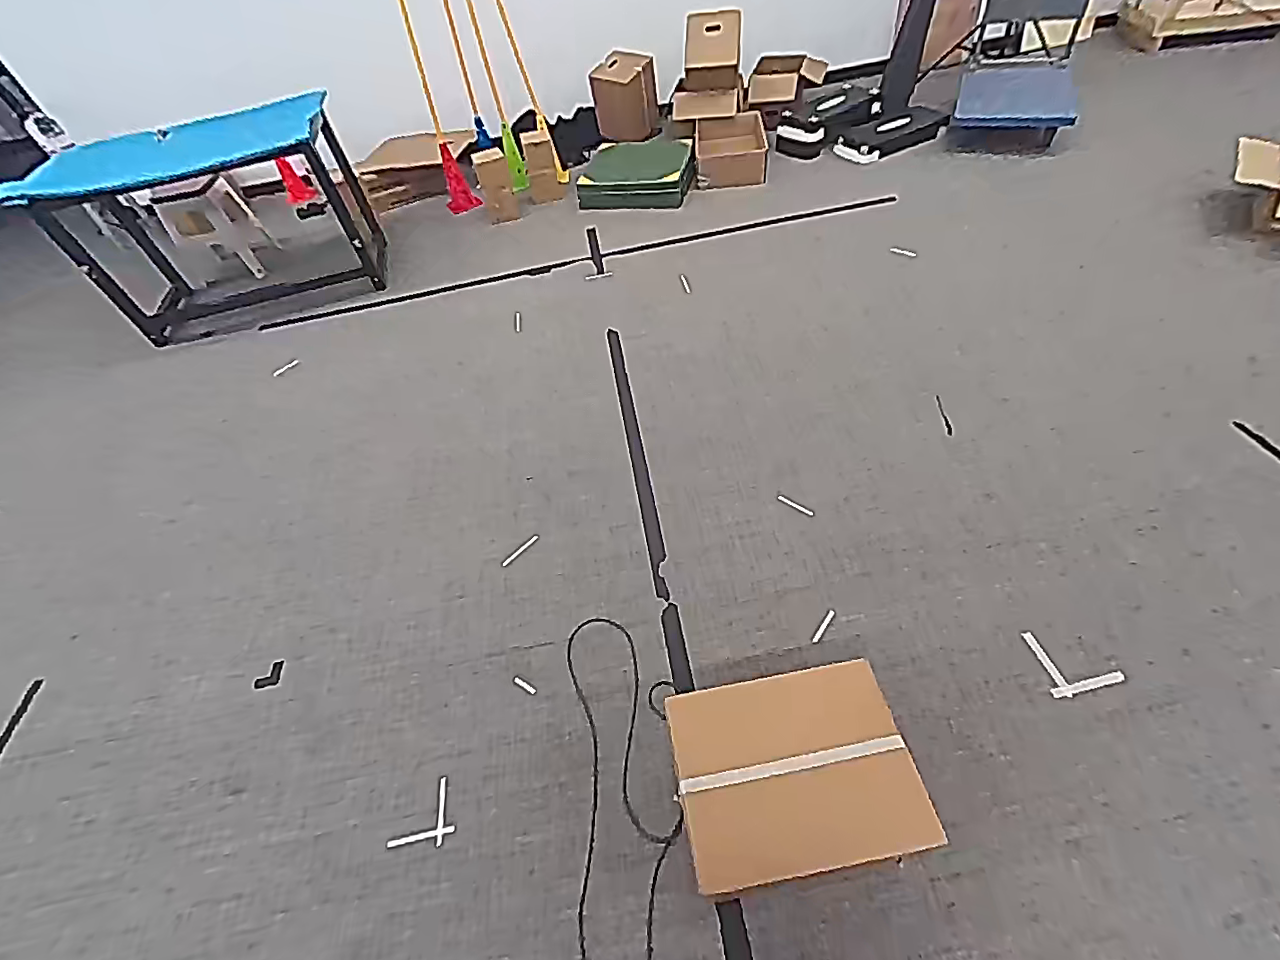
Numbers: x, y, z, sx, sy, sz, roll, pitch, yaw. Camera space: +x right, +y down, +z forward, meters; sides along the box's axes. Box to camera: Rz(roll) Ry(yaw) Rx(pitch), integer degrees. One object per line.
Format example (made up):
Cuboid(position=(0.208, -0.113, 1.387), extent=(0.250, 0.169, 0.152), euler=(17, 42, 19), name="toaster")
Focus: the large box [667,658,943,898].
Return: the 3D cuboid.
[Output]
Cuboid(position=(0.287, 0.593, 1.069), extent=(0.408, 0.320, 0.320), euler=(-11, 50, -2), name="large box")
